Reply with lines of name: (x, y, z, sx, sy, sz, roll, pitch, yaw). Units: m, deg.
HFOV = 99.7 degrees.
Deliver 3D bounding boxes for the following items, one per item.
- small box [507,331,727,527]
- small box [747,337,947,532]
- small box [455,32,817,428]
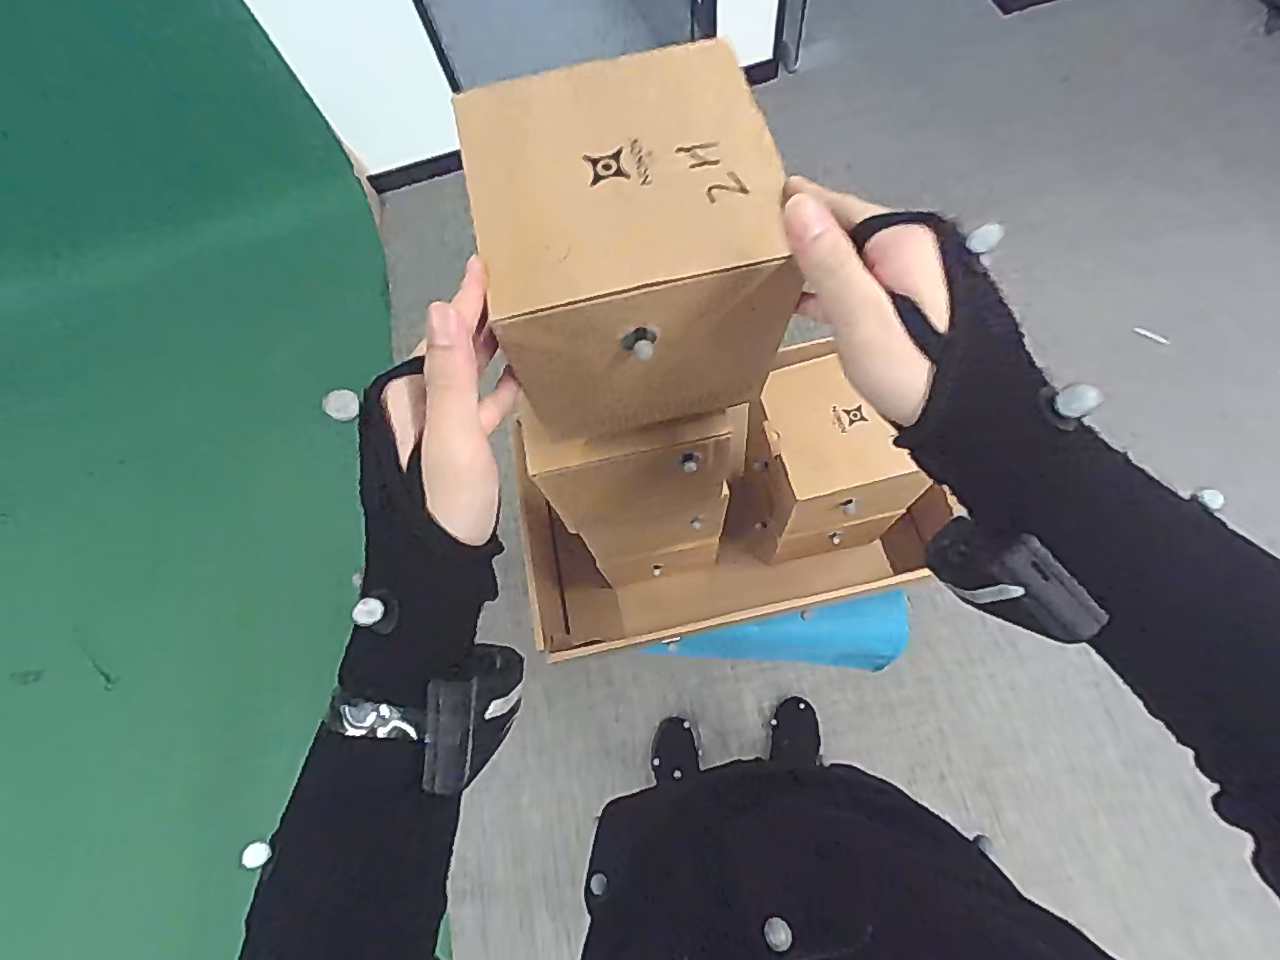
small box: (-0.020, -0.064, 0.549, 0.179, 0.176, 0.168, -12, 68, -1)
small box: (0.242, -0.045, 0.683, 0.179, 0.176, 0.168, -16, 69, 5)
small box: (-0.006, -0.151, 0.373, 0.179, 0.176, 0.168, -12, 74, -3)
